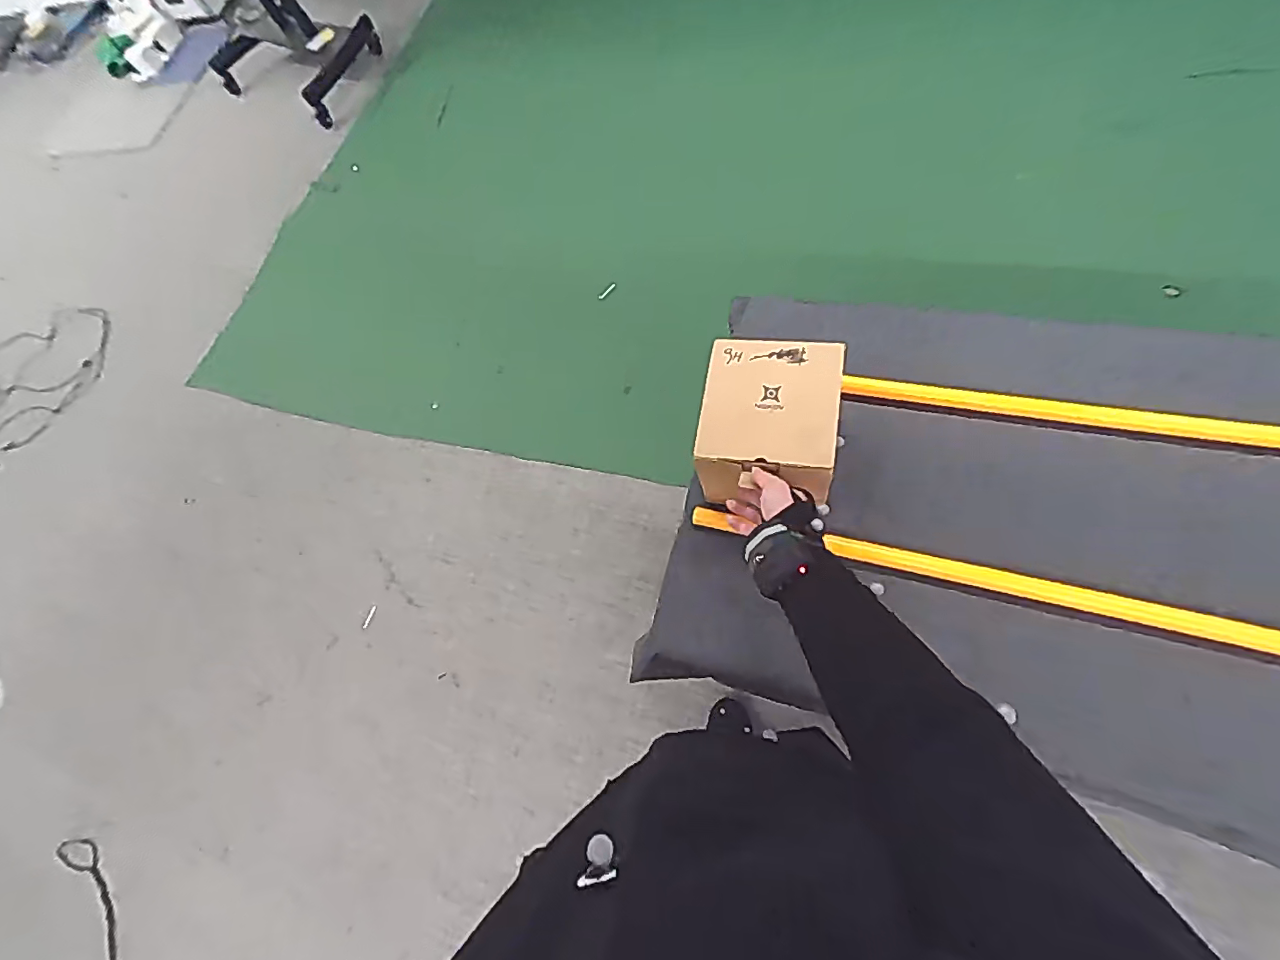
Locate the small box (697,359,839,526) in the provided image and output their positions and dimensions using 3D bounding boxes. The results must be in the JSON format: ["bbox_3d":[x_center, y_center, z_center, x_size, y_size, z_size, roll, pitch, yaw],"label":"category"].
[{"bbox_3d":[0.182,-0.045,0.744,0.168,0.176,0.179,3,67,17],"label":"small box"}]
